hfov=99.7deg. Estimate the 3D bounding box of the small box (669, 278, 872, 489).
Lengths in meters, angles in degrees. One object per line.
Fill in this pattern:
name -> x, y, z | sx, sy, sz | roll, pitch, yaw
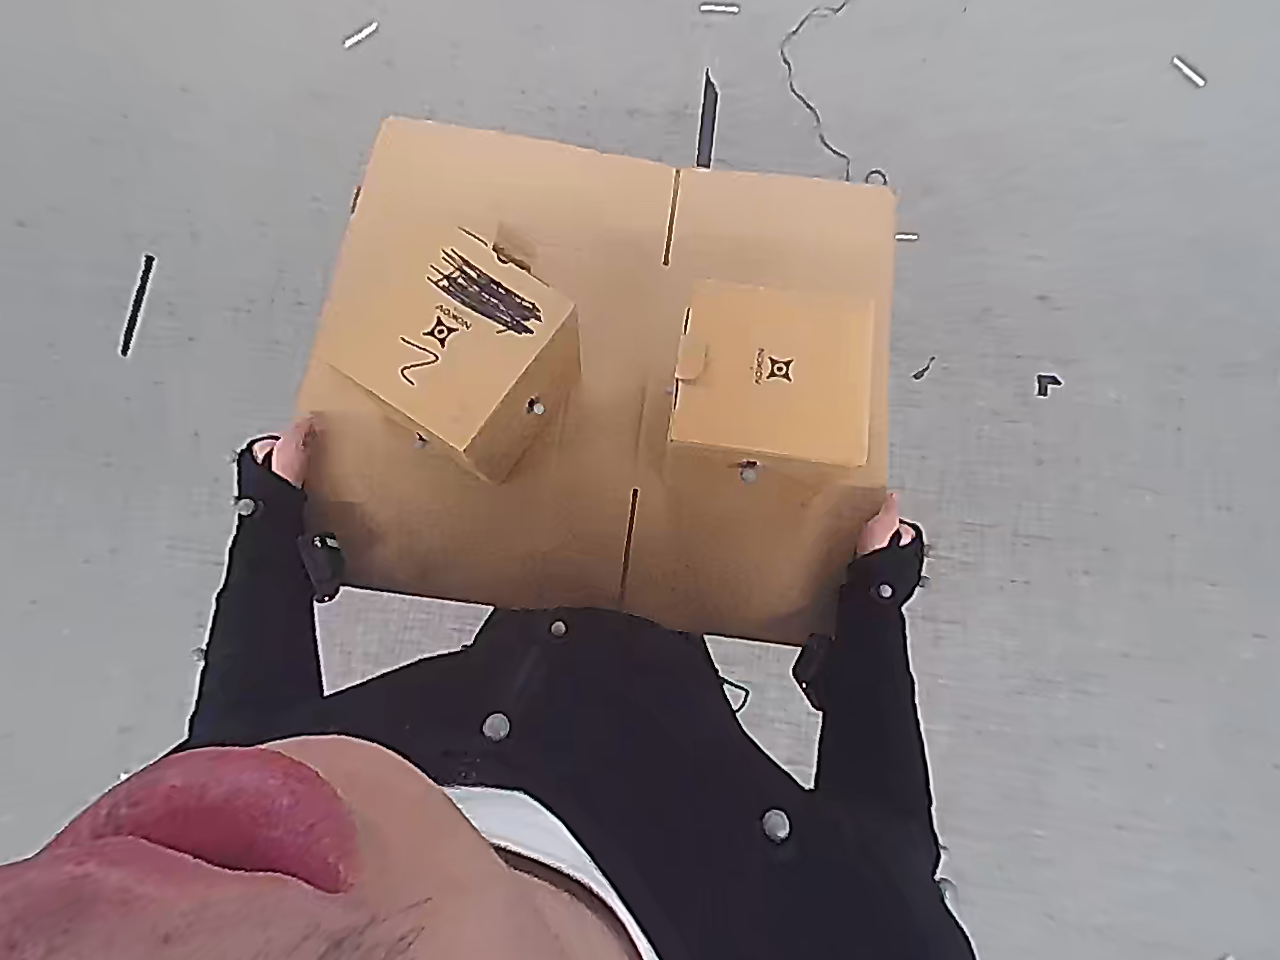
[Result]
small box -> 0.129, -0.091, 0.586 | 0.179, 0.176, 0.168 | 7, 77, 4
